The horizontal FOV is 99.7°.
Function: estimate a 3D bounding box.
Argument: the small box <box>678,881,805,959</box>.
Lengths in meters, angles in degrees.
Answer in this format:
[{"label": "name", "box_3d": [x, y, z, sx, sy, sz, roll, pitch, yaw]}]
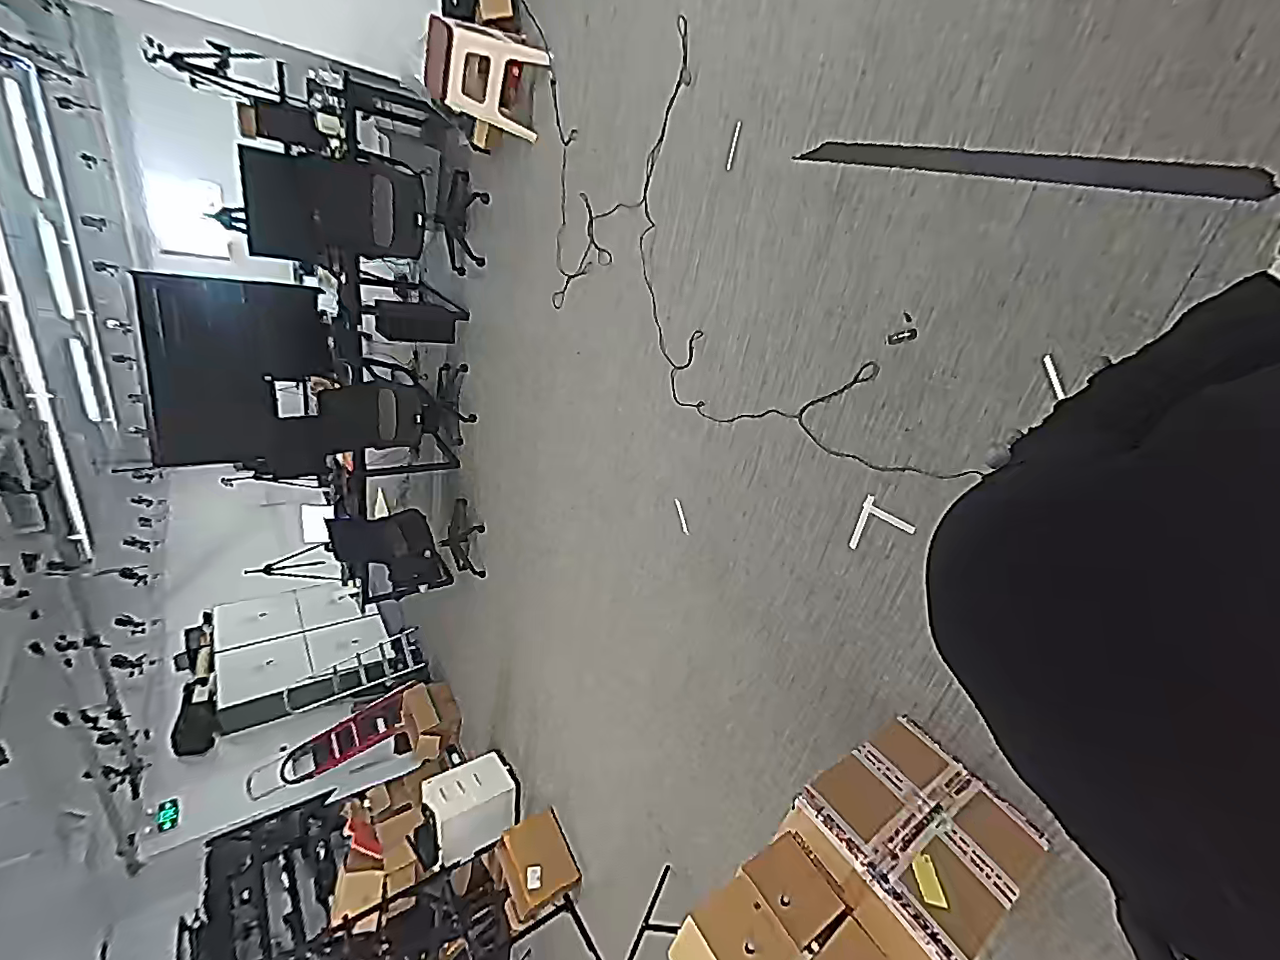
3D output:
[{"label": "small box", "box_3d": [0.208, 0.965, 1.091, 0.168, 0.176, 0.179, 42, 128, 43]}]
